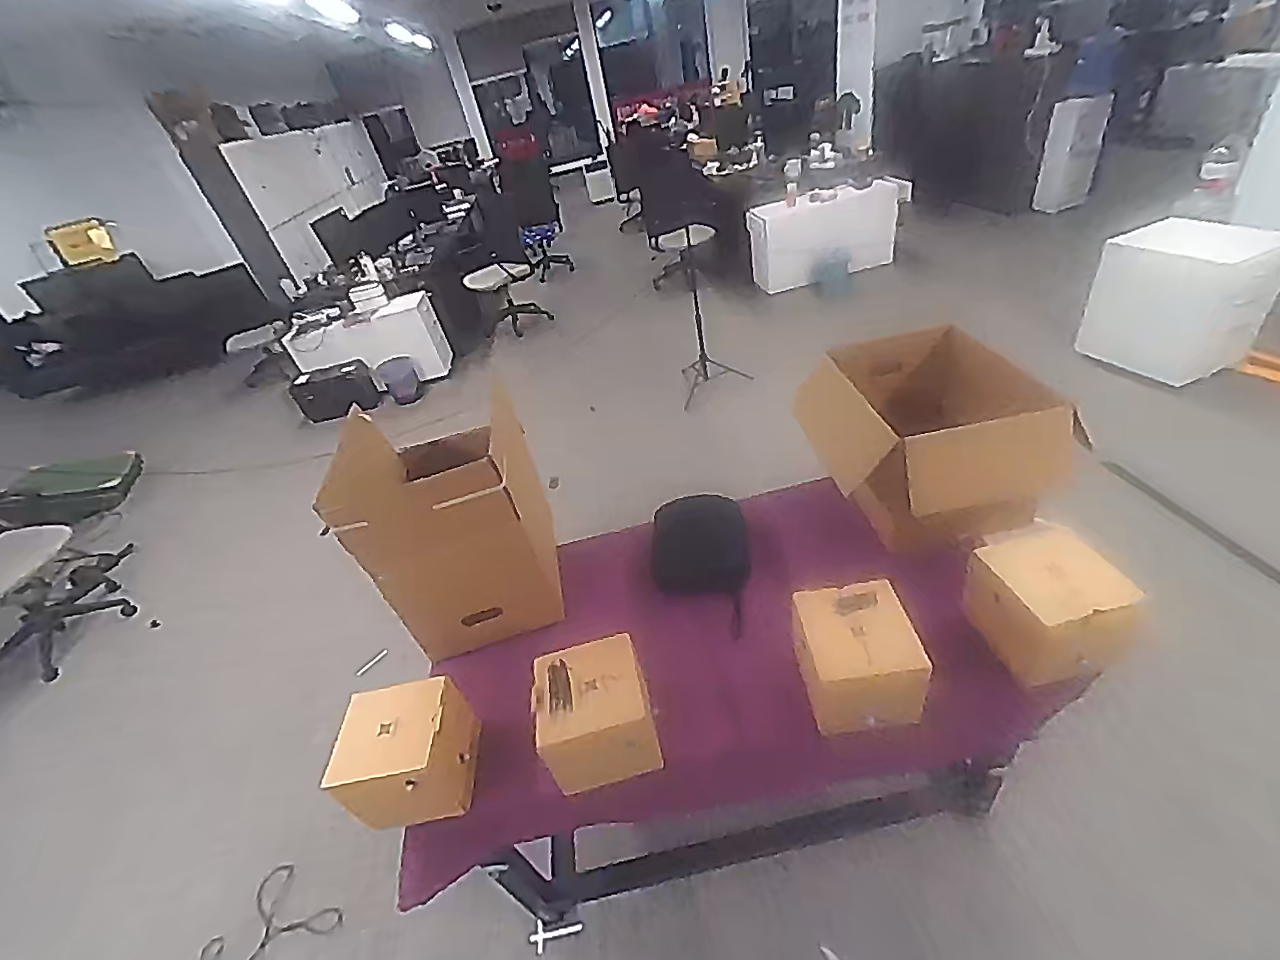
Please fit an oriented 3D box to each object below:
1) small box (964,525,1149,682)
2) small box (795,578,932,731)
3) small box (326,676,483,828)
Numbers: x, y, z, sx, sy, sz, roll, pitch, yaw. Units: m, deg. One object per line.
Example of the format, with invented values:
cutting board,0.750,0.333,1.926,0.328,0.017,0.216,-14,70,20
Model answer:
small box,0.687,0.209,0.922,0.168,0.176,0.179,-15,37,1
small box,0.366,0.297,0.921,0.168,0.176,0.179,-11,38,6
small box,-0.397,0.477,0.946,0.179,0.176,0.168,-12,37,1
